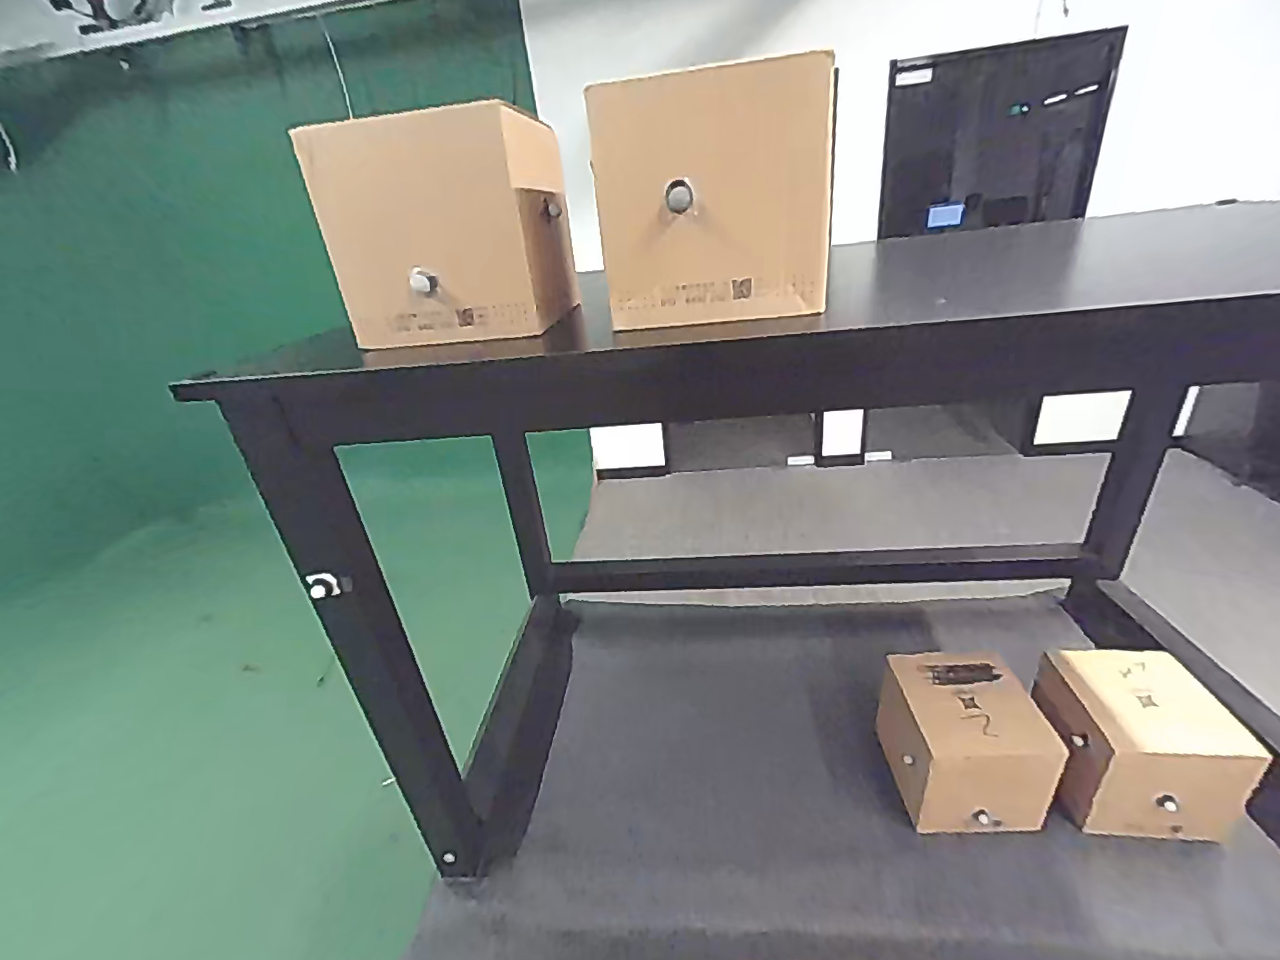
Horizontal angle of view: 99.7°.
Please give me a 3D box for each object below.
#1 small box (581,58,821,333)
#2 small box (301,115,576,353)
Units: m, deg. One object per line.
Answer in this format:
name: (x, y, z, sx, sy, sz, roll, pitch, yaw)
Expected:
small box: (0.058, -0.227, 0.466, 0.168, 0.176, 0.179, -3, 26, 9)
small box: (-0.163, -0.223, 0.508, 0.168, 0.176, 0.179, -3, 27, 8)
